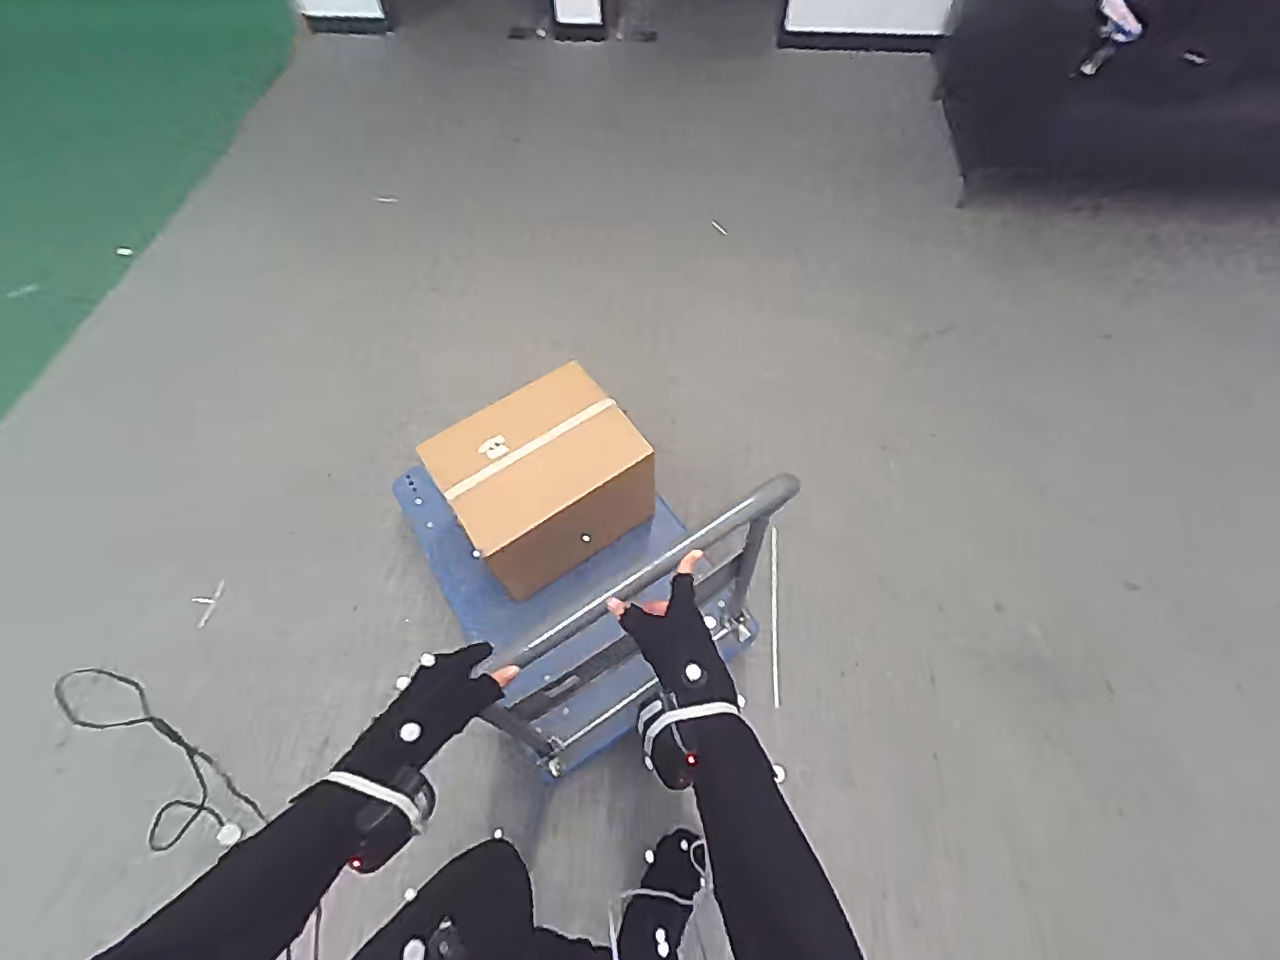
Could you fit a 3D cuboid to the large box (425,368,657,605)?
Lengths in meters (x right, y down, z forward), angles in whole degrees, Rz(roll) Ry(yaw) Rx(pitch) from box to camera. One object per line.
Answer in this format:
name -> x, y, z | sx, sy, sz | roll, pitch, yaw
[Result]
large box -> -0.205, 0.021, 1.268 | 0.408, 0.320, 0.320 | -34, 65, -15
